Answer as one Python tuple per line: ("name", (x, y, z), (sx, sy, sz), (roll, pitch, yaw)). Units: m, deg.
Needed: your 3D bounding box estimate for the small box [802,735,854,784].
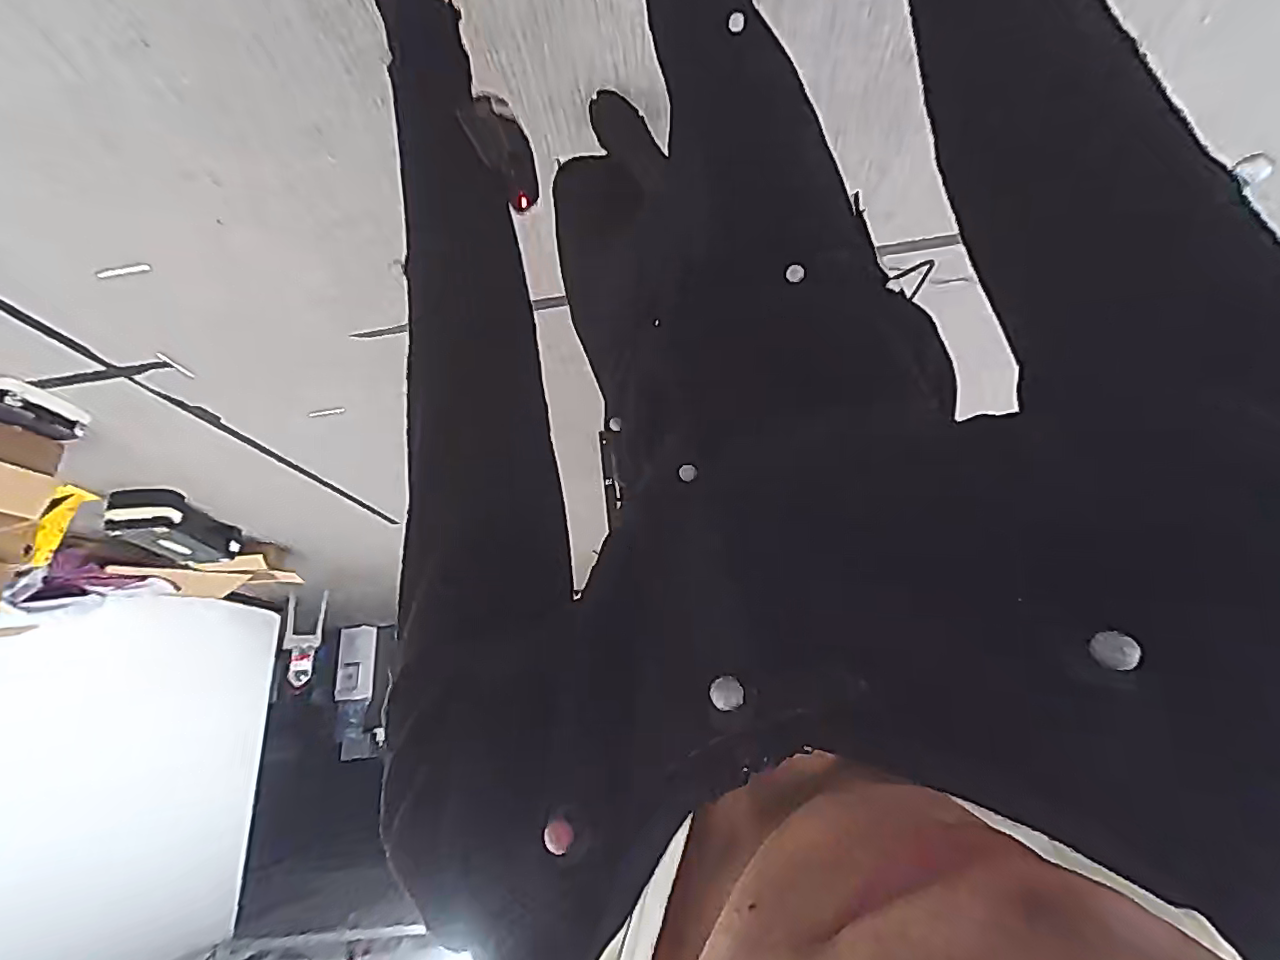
("small box", (0.803, 1.196, 2.322), (0.168, 0.176, 0.179), (-10, 156, 6))
